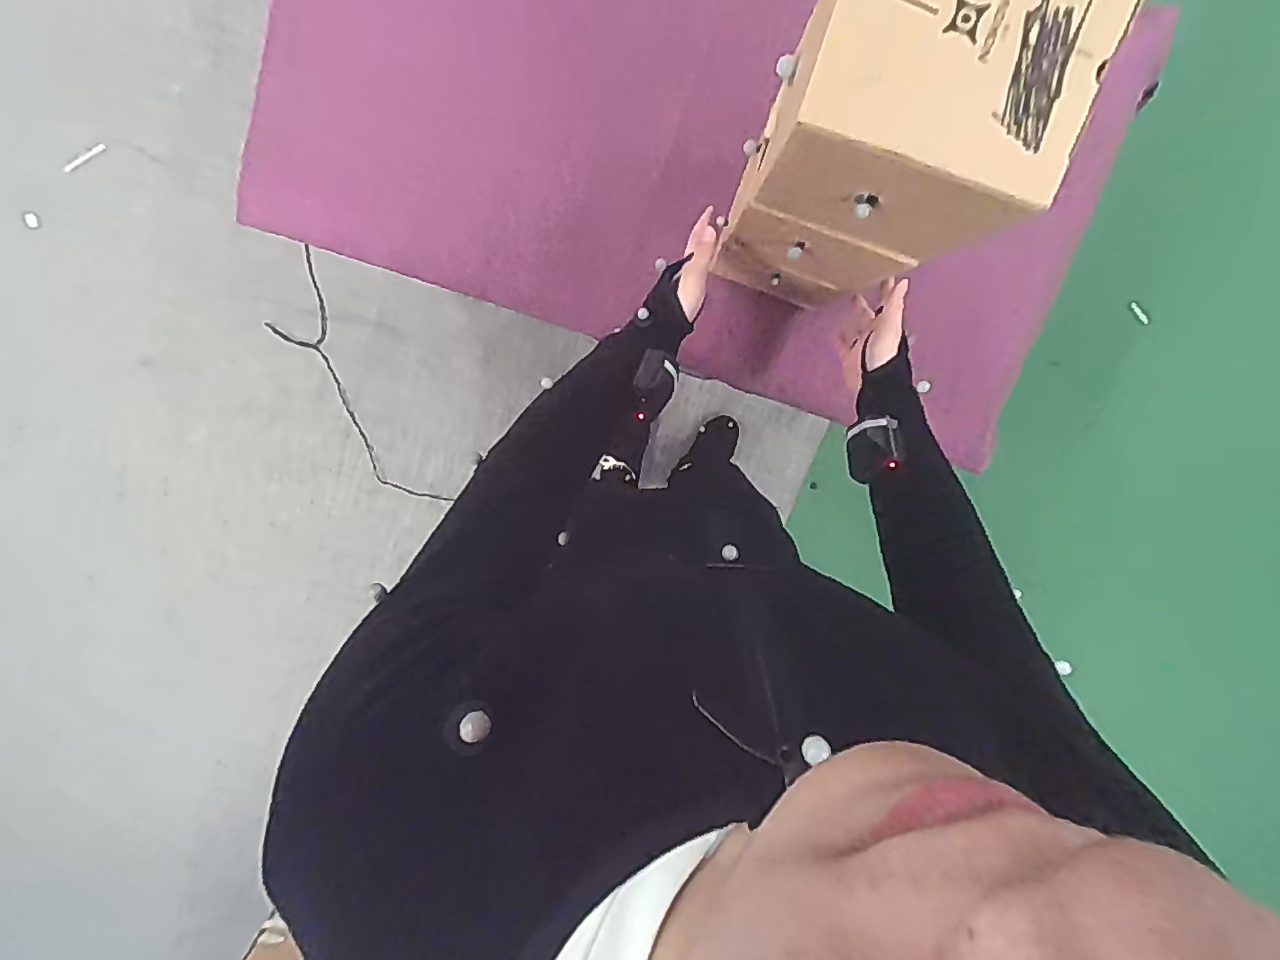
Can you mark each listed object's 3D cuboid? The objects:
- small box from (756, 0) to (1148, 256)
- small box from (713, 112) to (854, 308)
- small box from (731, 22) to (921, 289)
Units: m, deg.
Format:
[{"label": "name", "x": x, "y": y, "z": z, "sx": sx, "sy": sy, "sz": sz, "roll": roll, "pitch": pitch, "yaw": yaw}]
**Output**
[{"label": "small box", "x": 0.208, "y": -0.285, "z": 0.407, "sx": 0.179, "sy": 0.176, "sz": 0.168, "roll": 18, "pitch": 101, "yaw": -2}, {"label": "small box", "x": 0.211, "y": -0.345, "z": 0.730, "sx": 0.179, "sy": 0.176, "sz": 0.168, "roll": 21, "pitch": 101, "yaw": -3}, {"label": "small box", "x": 0.208, "y": -0.316, "z": 0.569, "sx": 0.179, "sy": 0.176, "sz": 0.168, "roll": 20, "pitch": 102, "yaw": -2}]
